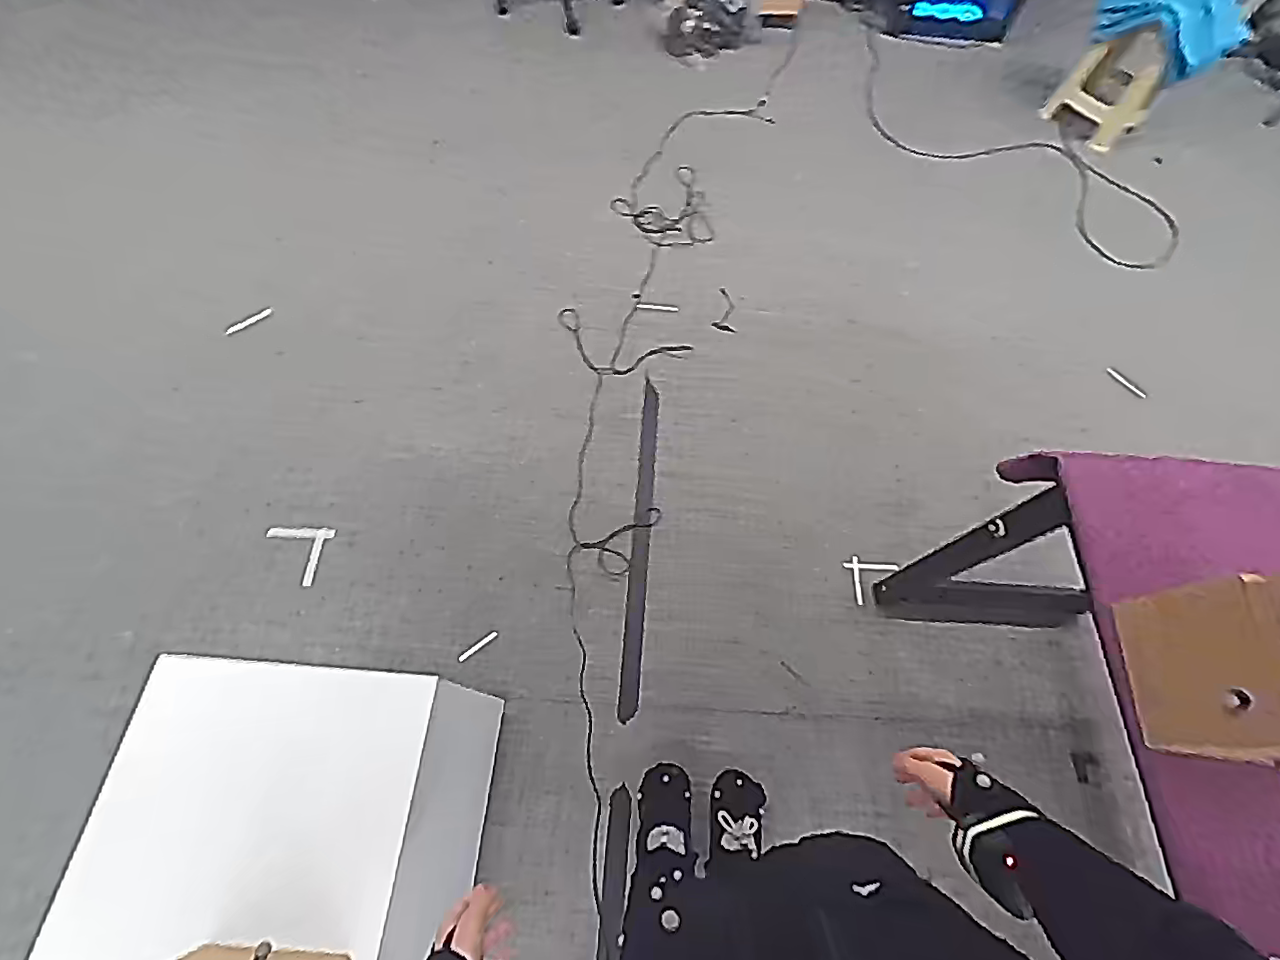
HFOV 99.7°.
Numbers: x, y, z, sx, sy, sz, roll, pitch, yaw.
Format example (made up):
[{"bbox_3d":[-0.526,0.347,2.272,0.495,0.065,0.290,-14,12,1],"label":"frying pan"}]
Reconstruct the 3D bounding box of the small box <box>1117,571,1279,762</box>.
[{"bbox_3d":[0.704,0.218,0.613,0.168,0.176,0.179,8,65,0],"label":"small box"}]

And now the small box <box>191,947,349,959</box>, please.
[{"bbox_3d":[-0.423,0.590,0.529,0.179,0.176,0.168,4,64,0],"label":"small box"}]
